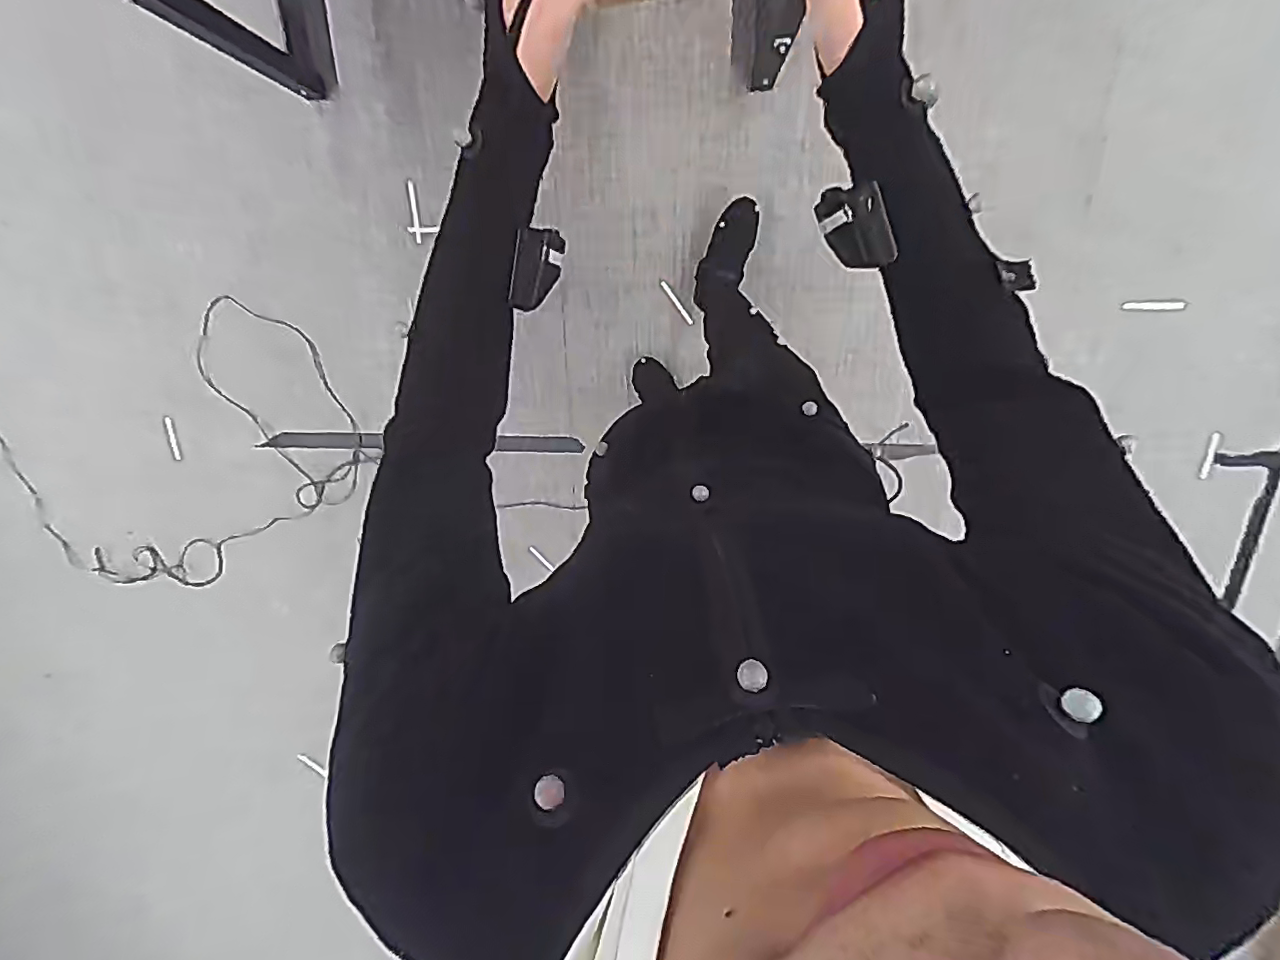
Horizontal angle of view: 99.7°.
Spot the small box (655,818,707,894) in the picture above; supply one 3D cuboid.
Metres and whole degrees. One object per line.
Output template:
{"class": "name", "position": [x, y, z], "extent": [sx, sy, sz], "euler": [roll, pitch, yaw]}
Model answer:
{"class": "small box", "position": [0.154, 1.412, 2.026], "extent": [0.168, 0.176, 0.179], "euler": [-10, 107, 5]}
